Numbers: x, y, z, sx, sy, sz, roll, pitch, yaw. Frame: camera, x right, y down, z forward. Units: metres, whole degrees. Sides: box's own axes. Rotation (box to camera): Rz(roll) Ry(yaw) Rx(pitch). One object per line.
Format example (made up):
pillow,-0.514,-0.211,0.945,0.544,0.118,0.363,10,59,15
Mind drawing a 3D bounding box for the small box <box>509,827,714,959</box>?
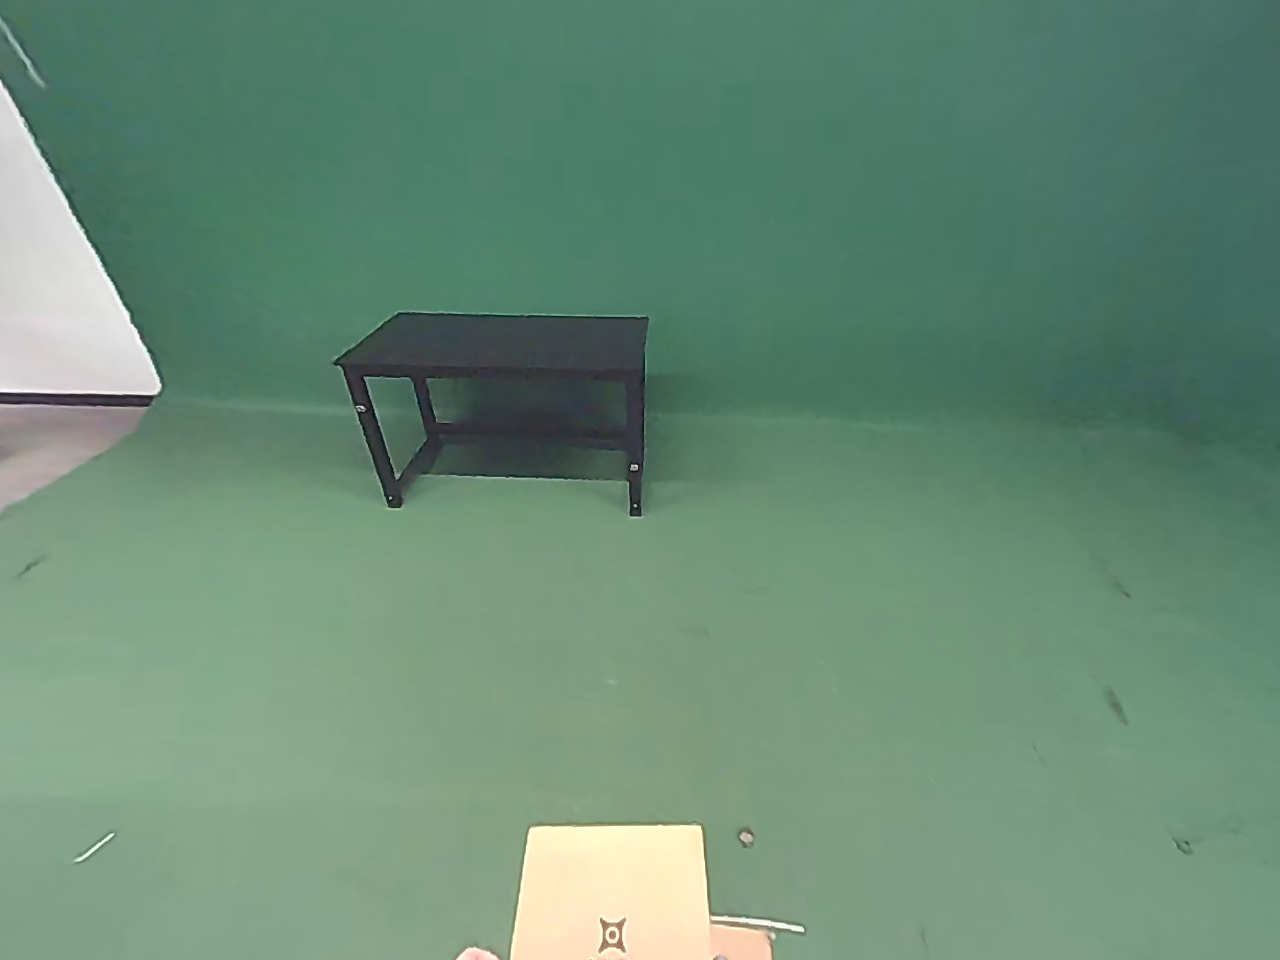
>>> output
small box,-0.023,0.440,0.480,0.168,0.176,0.179,0,37,0
